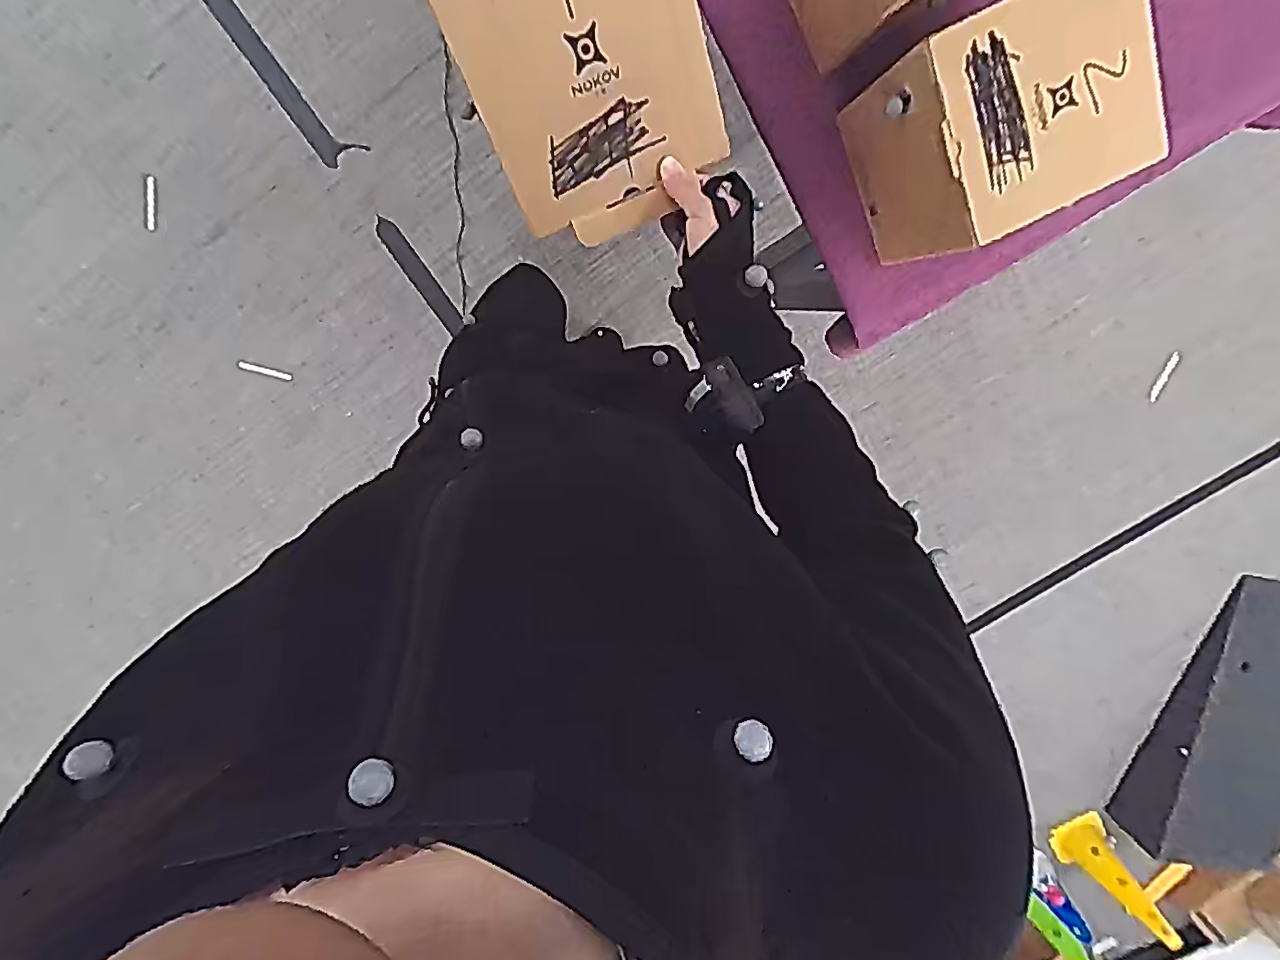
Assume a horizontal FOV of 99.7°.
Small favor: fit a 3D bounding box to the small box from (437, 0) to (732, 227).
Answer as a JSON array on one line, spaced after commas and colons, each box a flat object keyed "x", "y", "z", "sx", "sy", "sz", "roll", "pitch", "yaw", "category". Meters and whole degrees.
[{"x": -0.048, "y": -0.328, "z": 0.424, "sx": 0.168, "sy": 0.176, "sz": 0.179, "roll": -23, "pitch": 124, "yaw": 1, "category": "small box"}]

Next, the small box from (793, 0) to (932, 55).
[{"x": 0.220, "y": -0.500, "z": 0.447, "sx": 0.168, "sy": 0.176, "sz": 0.179, "roll": -32, "pitch": 109, "yaw": 6, "category": "small box"}]
